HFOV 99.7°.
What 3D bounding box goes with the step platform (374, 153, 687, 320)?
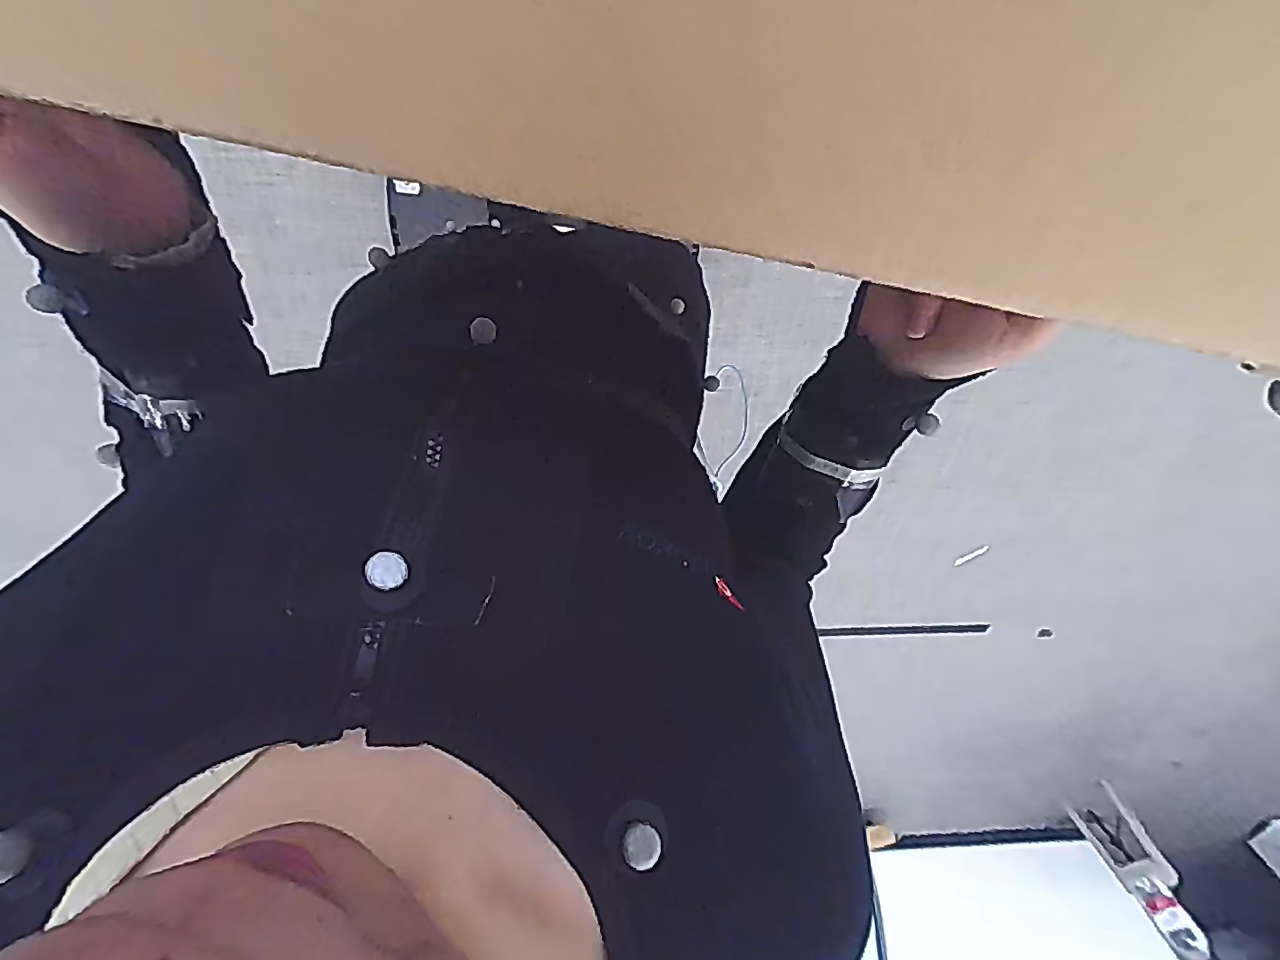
[{"bbox_3d":[-0.235,-0.566,1.246,0.684,0.204,0.286,6,123,-7],"label":"step platform"}]
